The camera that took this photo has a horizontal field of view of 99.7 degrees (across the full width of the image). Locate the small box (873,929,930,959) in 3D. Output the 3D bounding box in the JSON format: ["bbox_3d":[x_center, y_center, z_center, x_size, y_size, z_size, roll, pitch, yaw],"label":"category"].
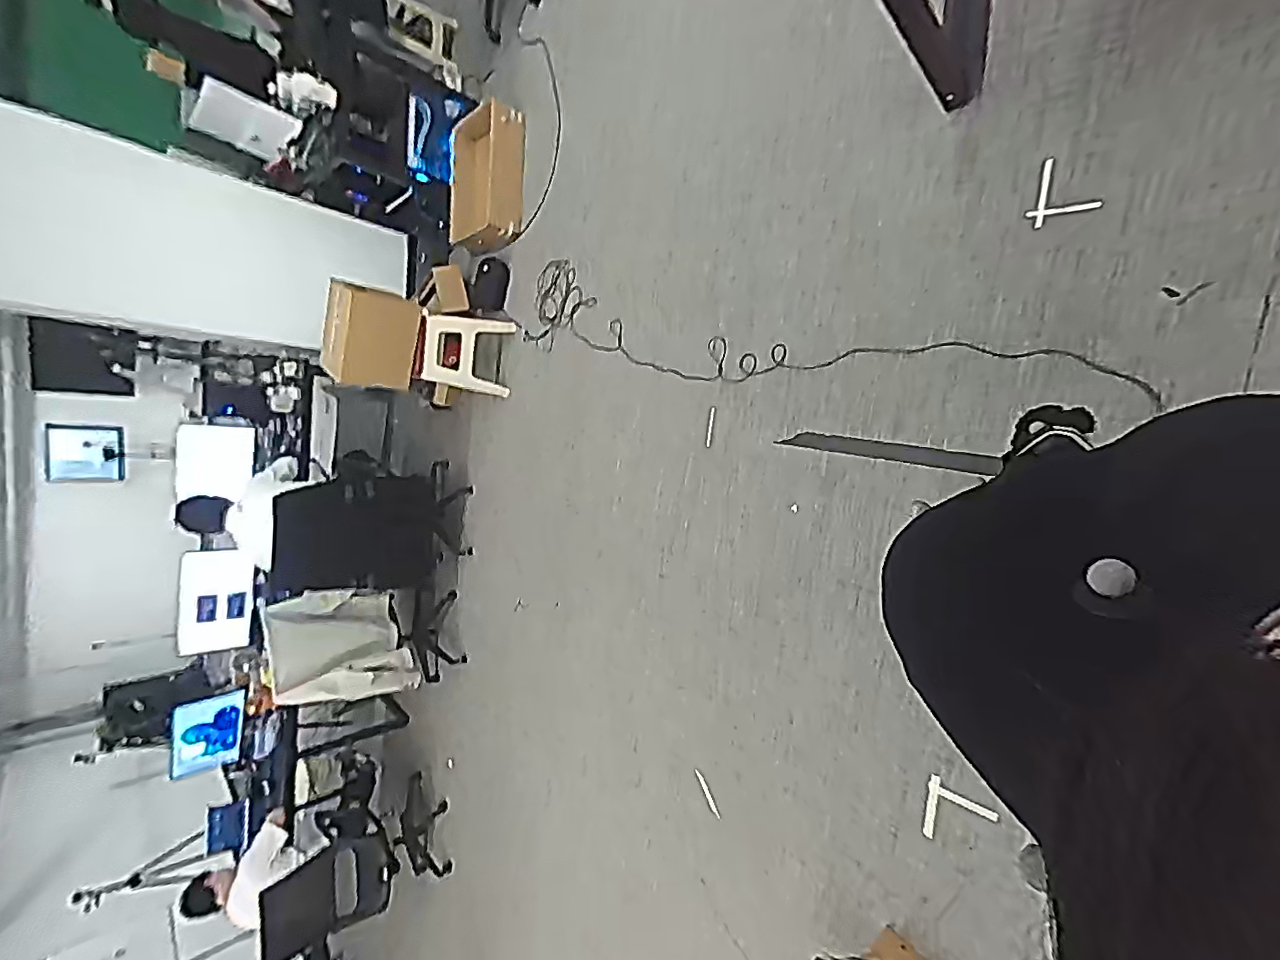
[{"bbox_3d":[0.688,1.349,1.420,0.168,0.176,0.179,25,107,42],"label":"small box"}]
